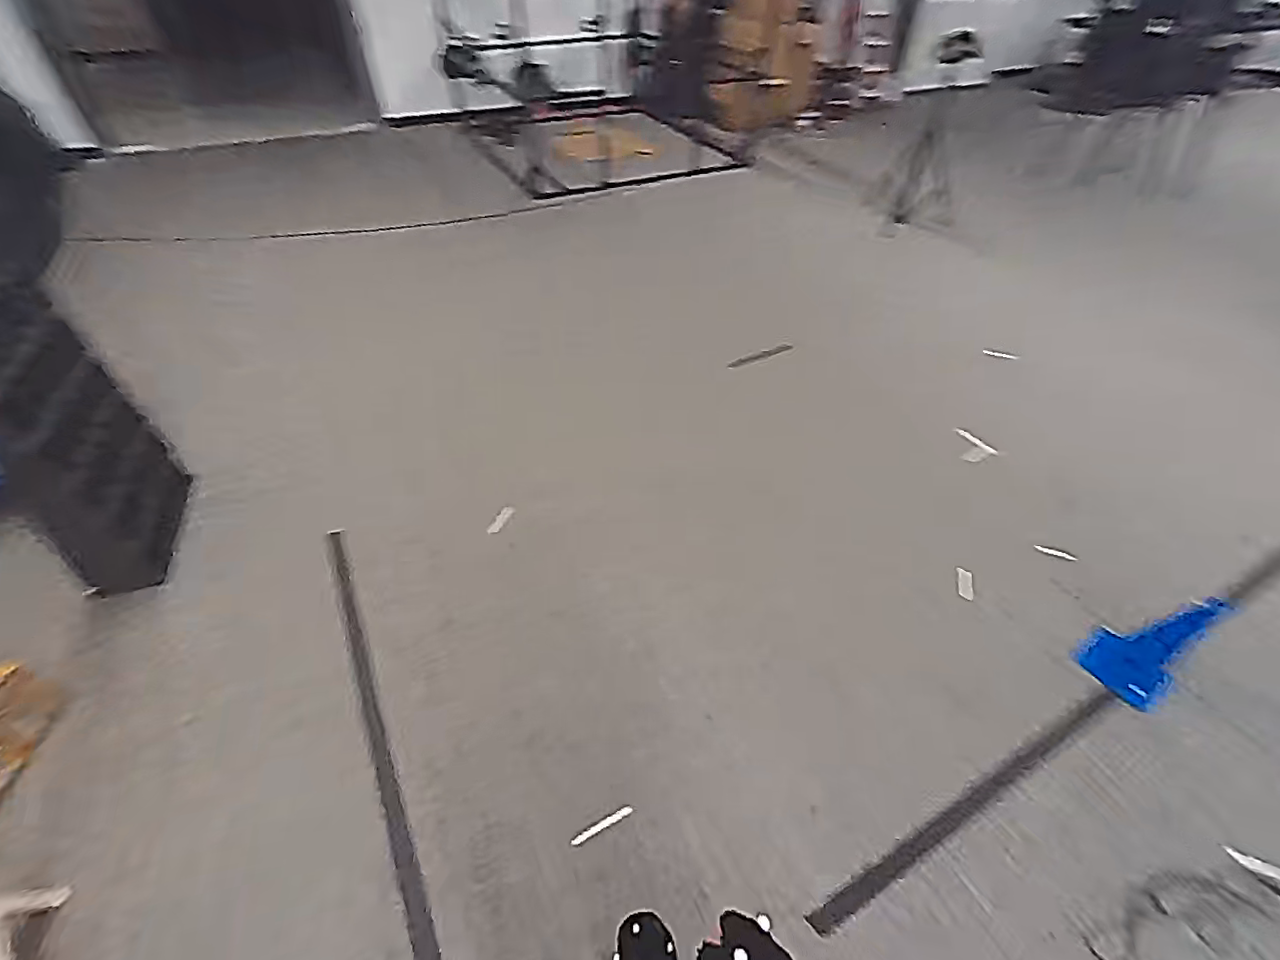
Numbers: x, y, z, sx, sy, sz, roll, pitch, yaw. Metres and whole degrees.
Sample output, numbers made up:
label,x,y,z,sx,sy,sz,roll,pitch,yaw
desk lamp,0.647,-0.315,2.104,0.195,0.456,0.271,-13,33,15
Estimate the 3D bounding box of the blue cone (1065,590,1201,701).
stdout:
label,x,y,z,sx,sy,sz,roll,pitch,yaw
blue cone,1.402,0.431,1.494,0.193,0.380,0.192,-23,50,-24
